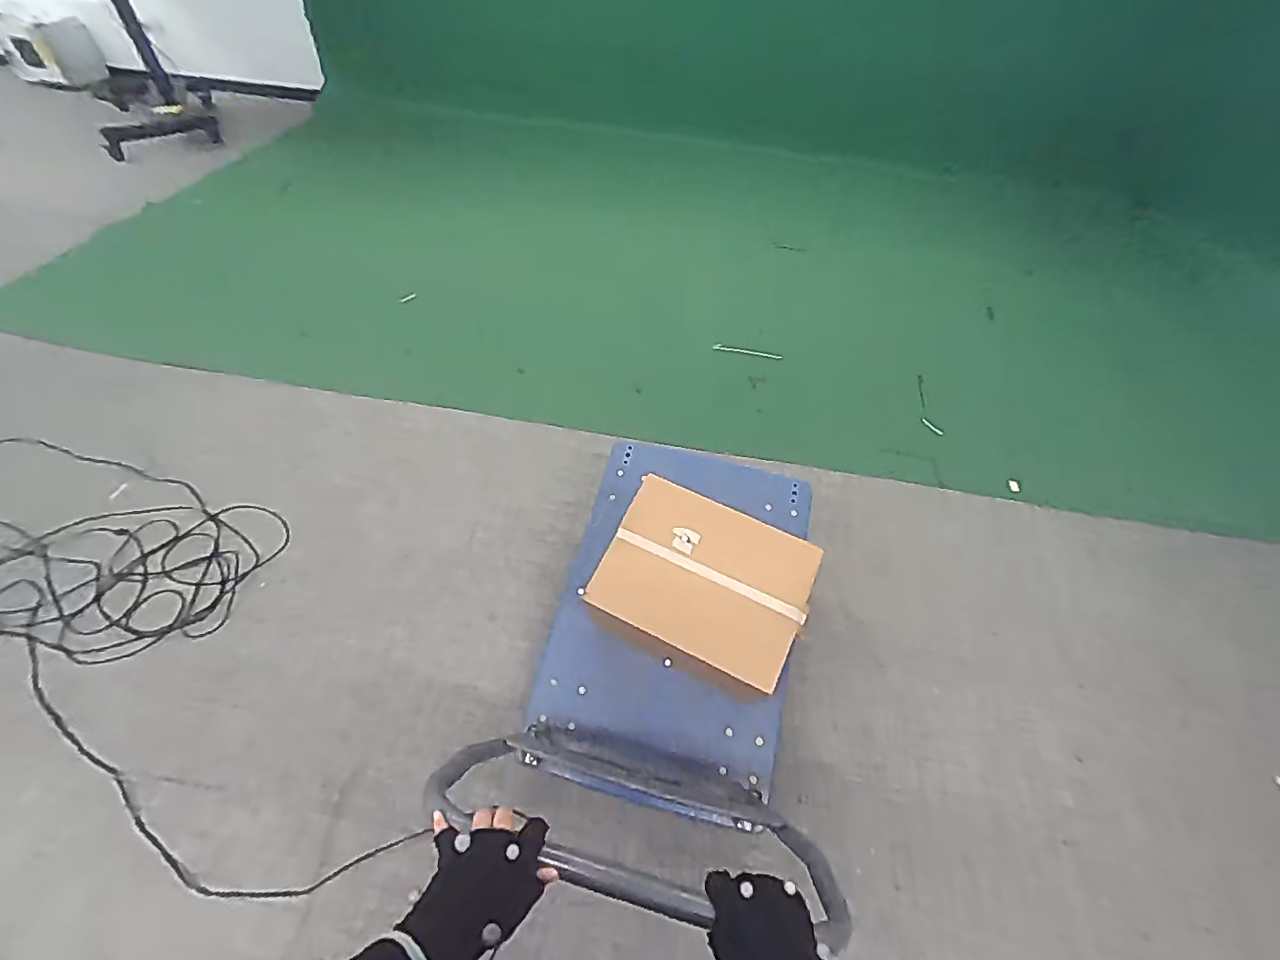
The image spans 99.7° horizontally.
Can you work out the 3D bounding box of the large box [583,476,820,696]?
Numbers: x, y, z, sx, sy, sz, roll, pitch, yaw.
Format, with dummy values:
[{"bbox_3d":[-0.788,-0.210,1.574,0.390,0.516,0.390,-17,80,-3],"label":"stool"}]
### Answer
[{"bbox_3d":[0.134,0.251,1.225,0.408,0.320,0.320,24,67,13],"label":"large box"}]
